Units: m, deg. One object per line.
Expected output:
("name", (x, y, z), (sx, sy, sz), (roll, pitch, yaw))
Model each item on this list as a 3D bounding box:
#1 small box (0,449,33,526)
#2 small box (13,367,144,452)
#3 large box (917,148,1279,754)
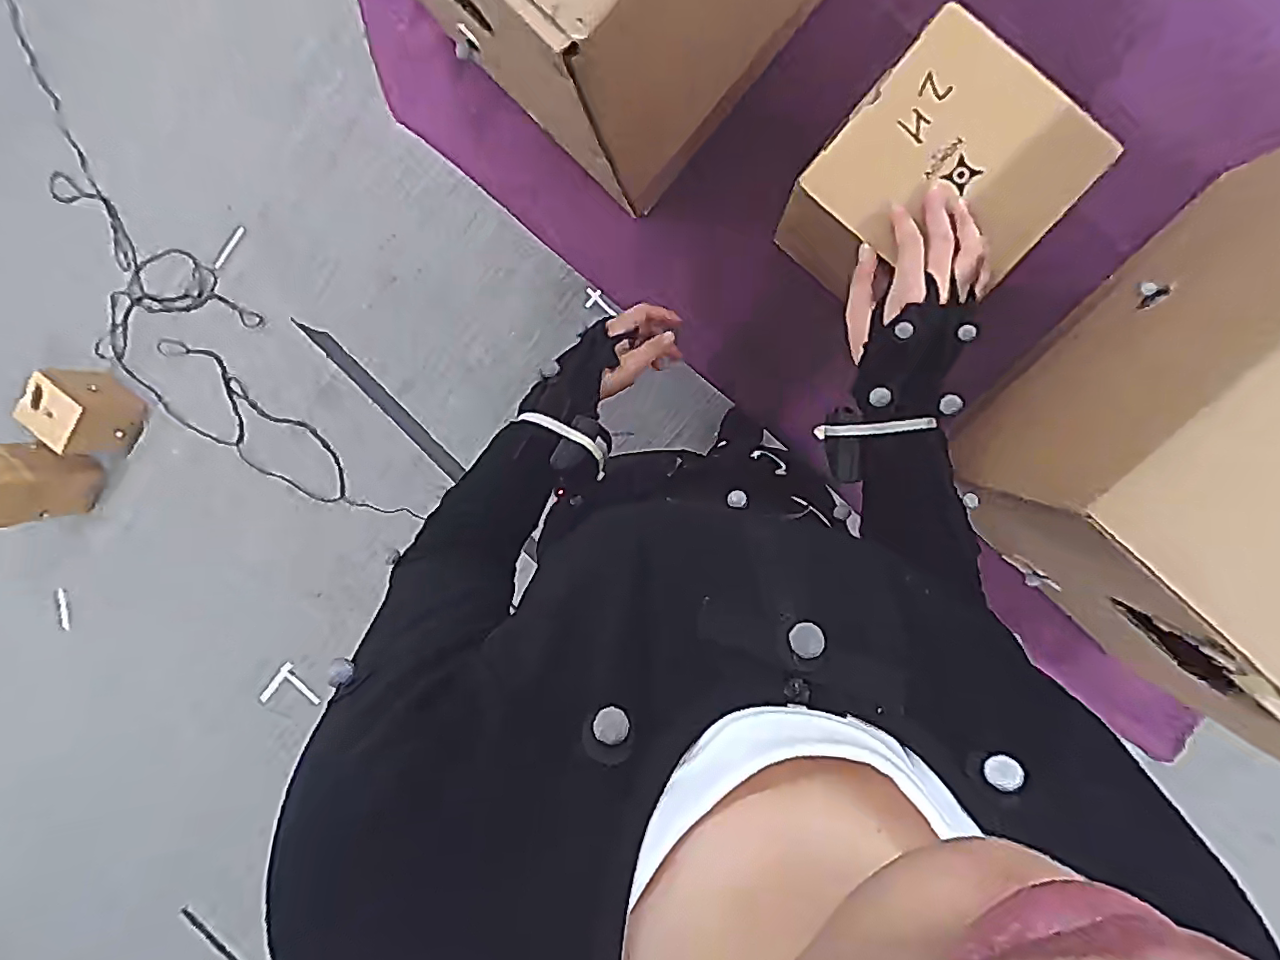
("small box", (-1.794, 0.021, 1.439), (0.168, 0.176, 0.179), (37, 102, 3))
("small box", (-1.592, -0.199, 1.541), (0.179, 0.176, 0.168), (40, 103, 2))
("large box", (0.515, -0.034, 0.407), (0.320, 0.320, 0.408), (43, 100, 1))
